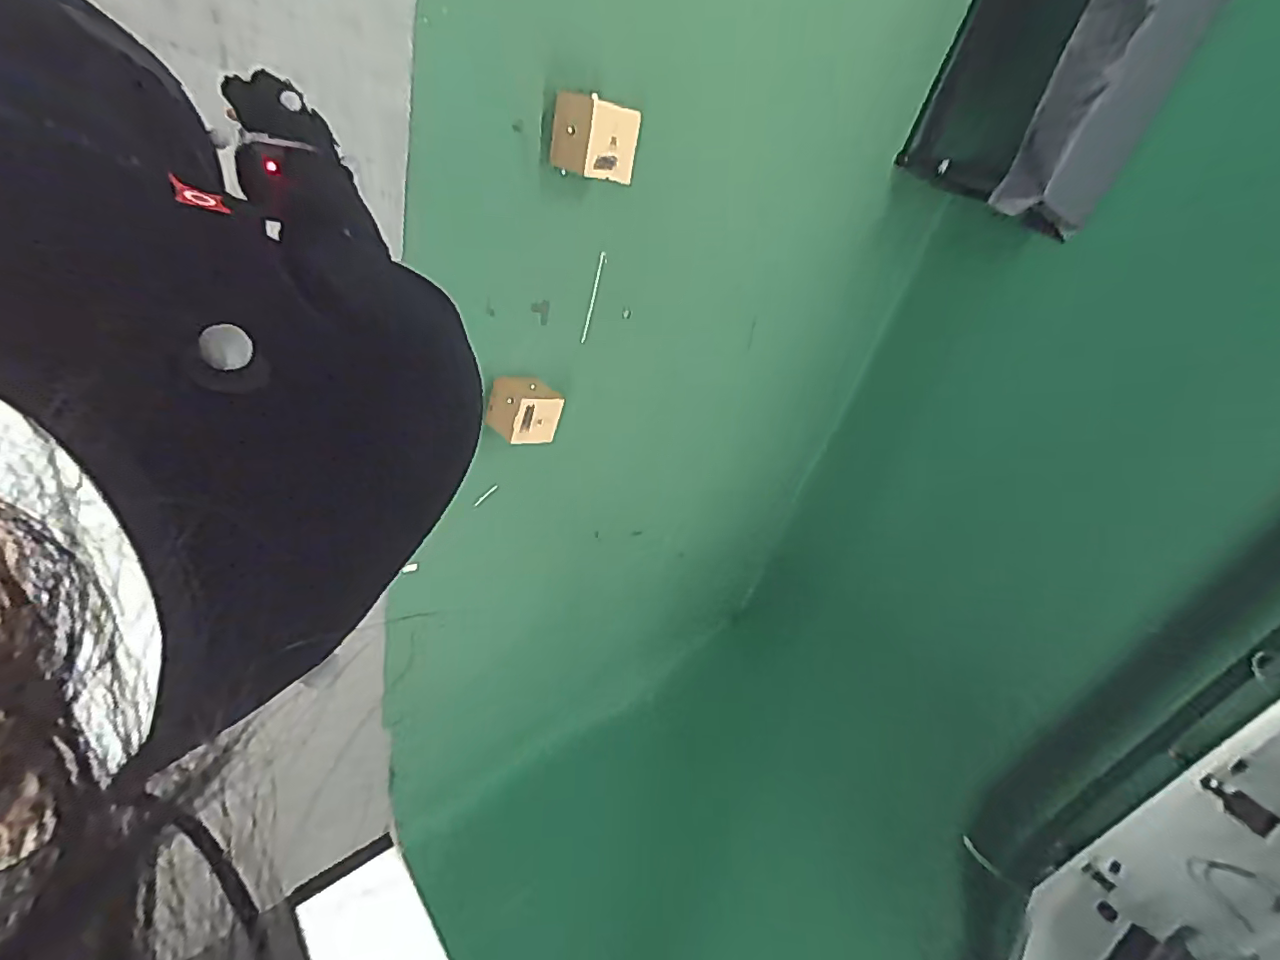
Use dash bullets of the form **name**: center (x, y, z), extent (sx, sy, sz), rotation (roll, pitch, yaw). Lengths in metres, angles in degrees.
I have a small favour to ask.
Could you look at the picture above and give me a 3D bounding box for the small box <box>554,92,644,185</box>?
- **small box**: center (-0.119, -0.935, 1.481), extent (0.168, 0.176, 0.179), rotation (-16, 132, -41)
